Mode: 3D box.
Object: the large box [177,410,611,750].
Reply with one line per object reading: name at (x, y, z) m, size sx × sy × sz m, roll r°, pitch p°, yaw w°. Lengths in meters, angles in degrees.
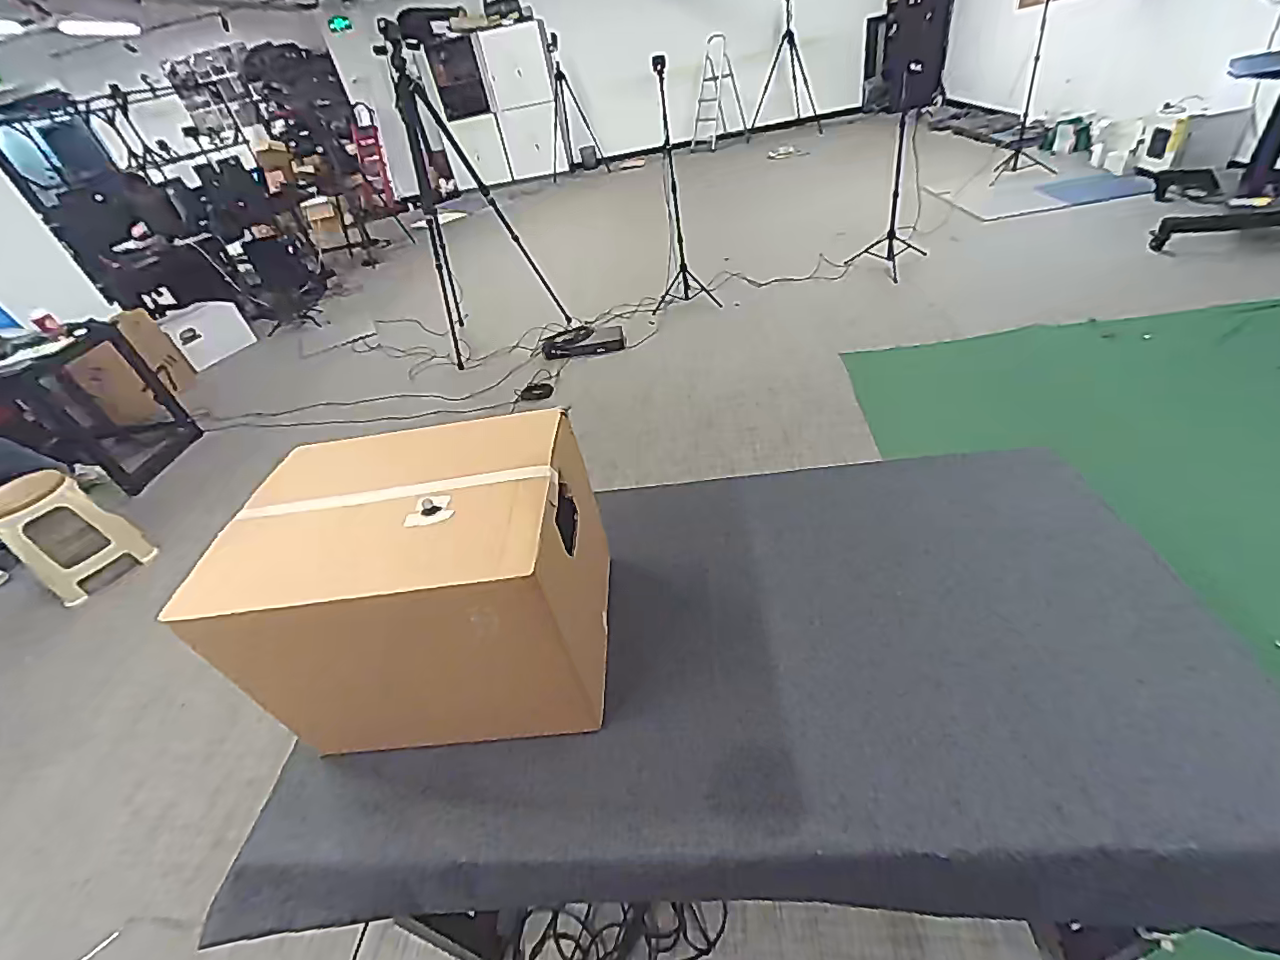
large box at (-0.265, 0.136, 0.747) m, size 0.408 × 0.320 × 0.320 m, roll -7°, pitch 39°, yaw 4°
